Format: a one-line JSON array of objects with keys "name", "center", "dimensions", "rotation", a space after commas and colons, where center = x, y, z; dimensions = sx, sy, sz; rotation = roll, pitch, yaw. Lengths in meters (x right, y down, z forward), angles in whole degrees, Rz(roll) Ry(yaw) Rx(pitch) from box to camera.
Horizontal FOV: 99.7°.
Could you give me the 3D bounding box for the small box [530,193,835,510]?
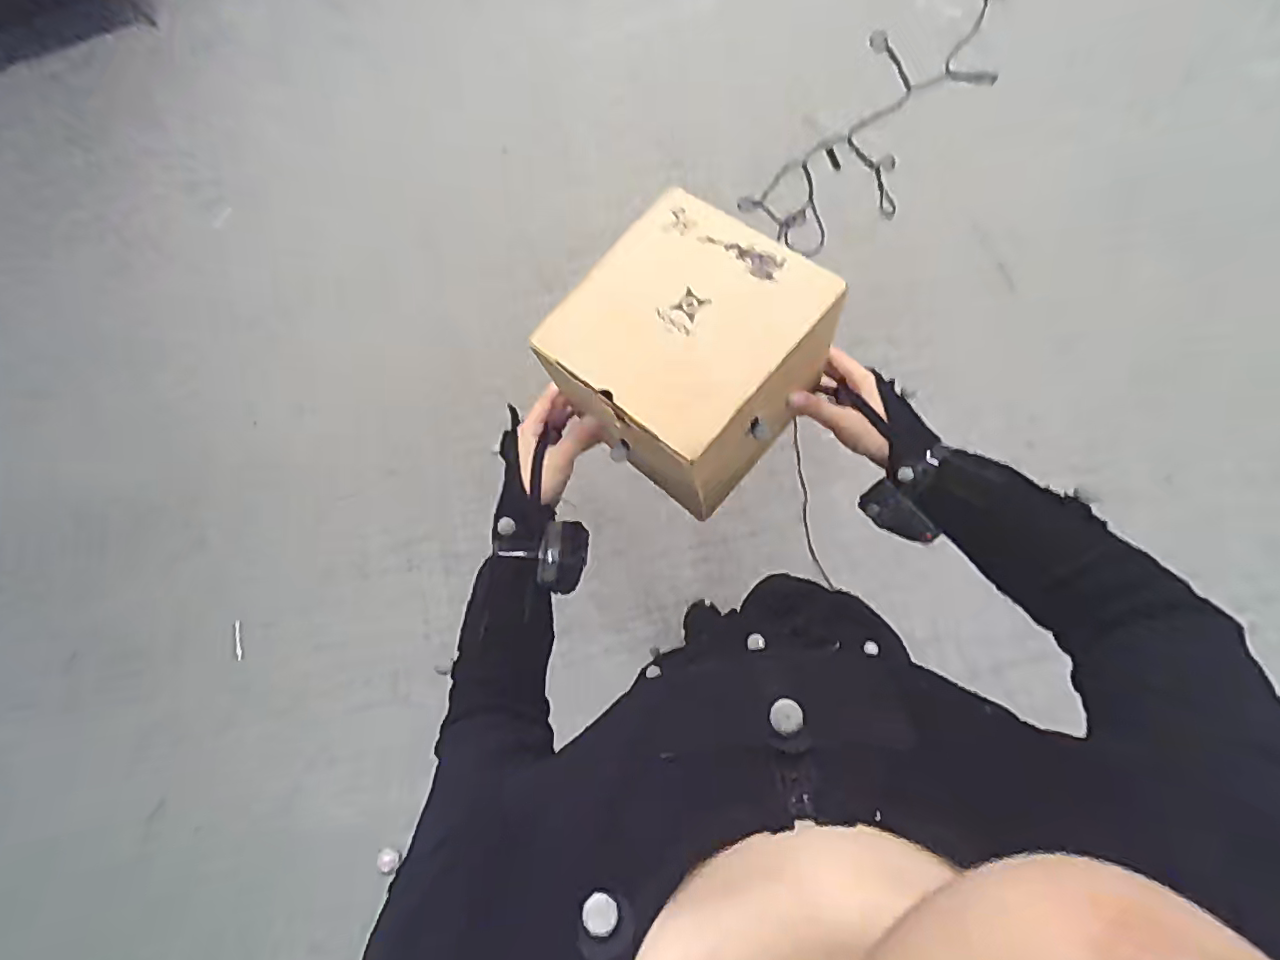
[{"name": "small box", "center": [0.042, -0.098, 0.476], "dimensions": [0.168, 0.176, 0.179], "rotation": [39, 83, 19]}]
